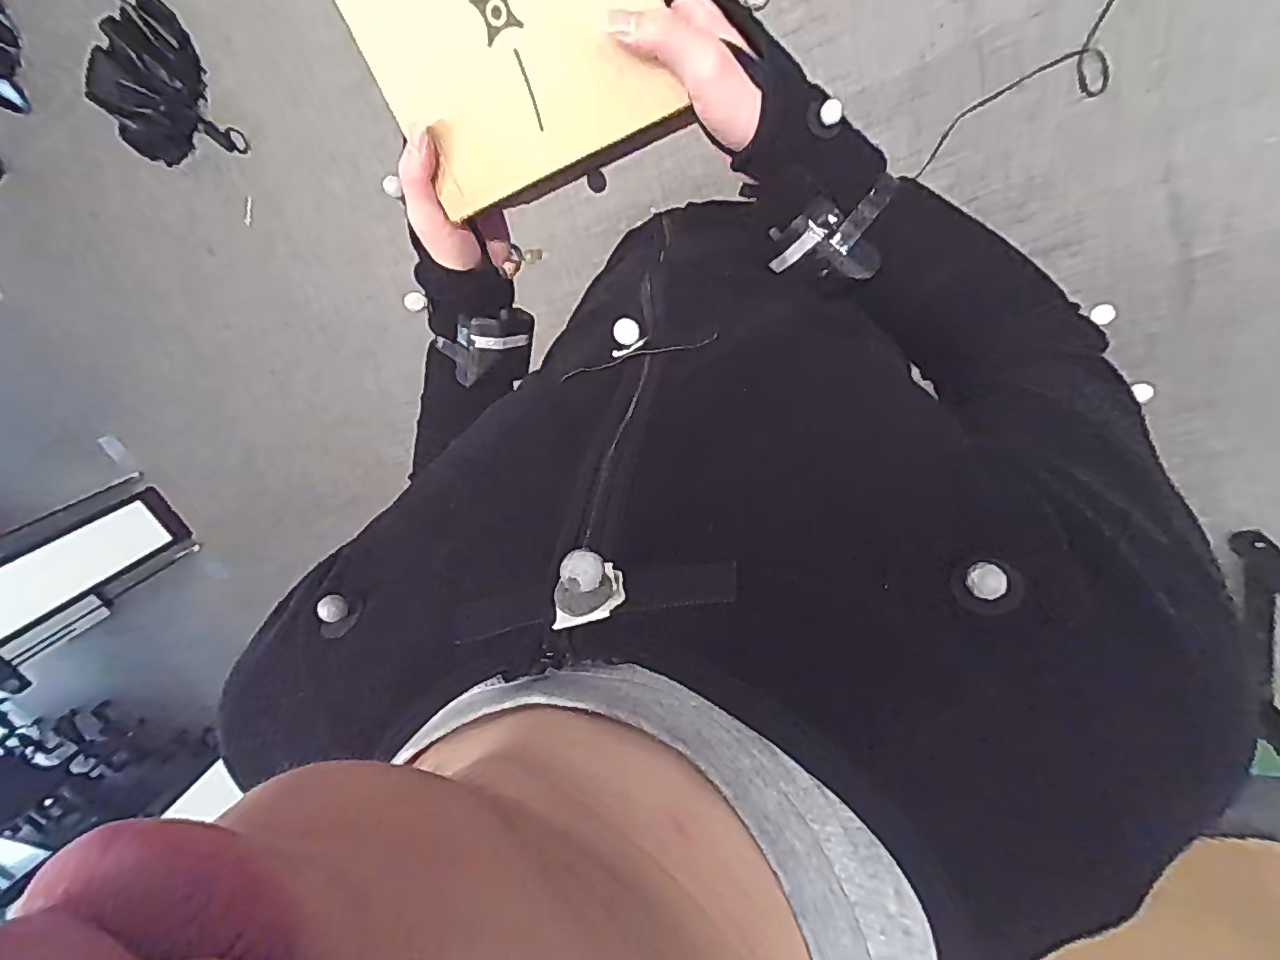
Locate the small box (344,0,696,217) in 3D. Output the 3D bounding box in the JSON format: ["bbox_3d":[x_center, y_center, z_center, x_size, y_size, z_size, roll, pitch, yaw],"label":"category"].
[{"bbox_3d":[-0.067,-0.297,0.356,0.168,0.176,0.179,-16,117,16],"label":"small box"}]
